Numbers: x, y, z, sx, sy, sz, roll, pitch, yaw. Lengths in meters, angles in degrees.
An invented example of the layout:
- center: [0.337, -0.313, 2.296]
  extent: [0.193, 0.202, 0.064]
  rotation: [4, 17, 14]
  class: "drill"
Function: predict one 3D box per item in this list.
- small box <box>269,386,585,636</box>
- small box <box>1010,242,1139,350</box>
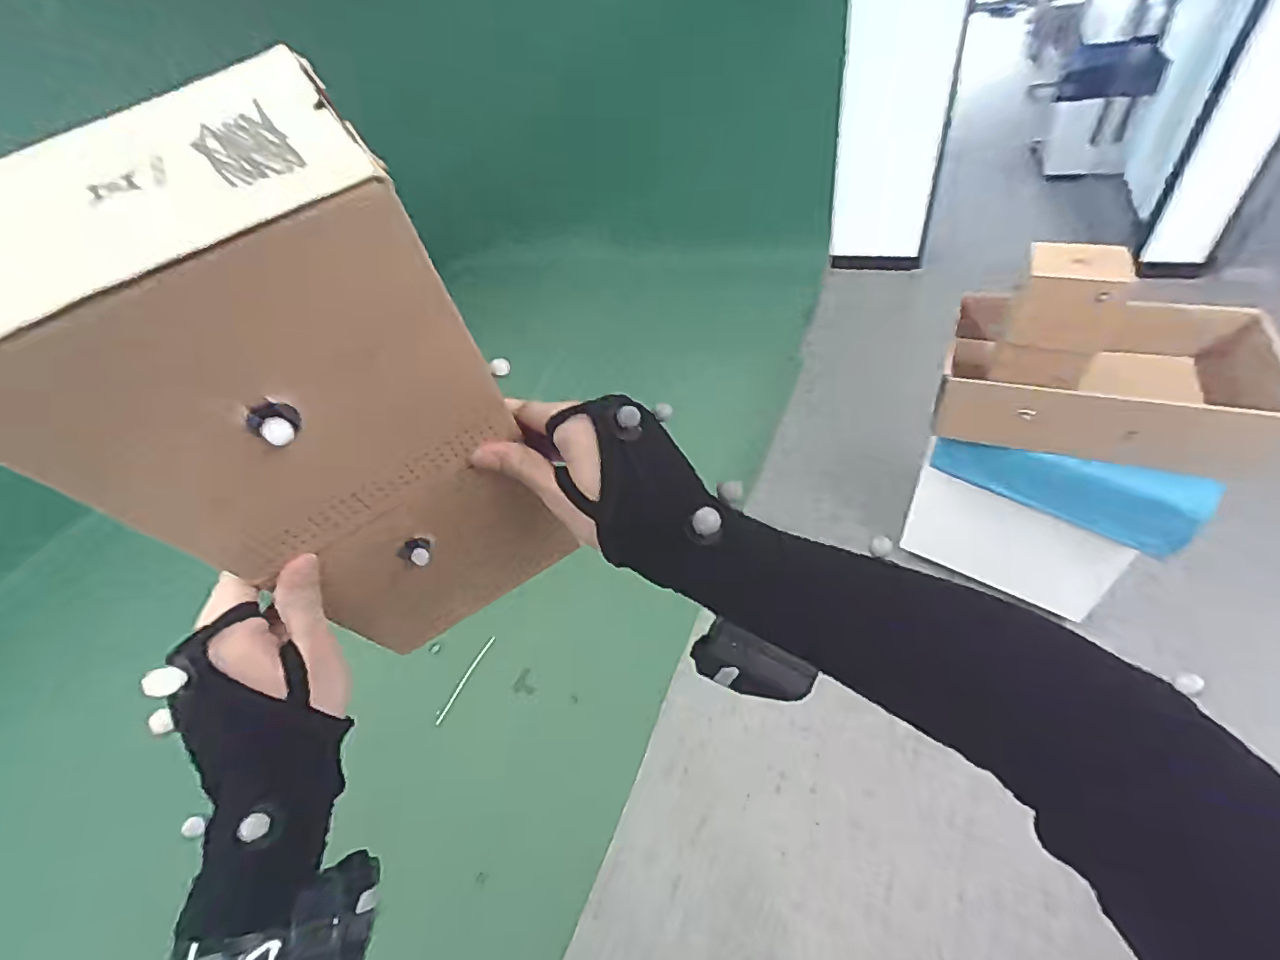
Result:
- center: [-0.168, -0.002, 0.436]
  extent: [0.179, 0.176, 0.168]
  rotation: [-30, 58, -10]
  class: "small box"
- center: [0.934, -0.402, 1.182]
  extent: [0.179, 0.176, 0.168]
  rotation: [14, 50, 23]
  class: "small box"
